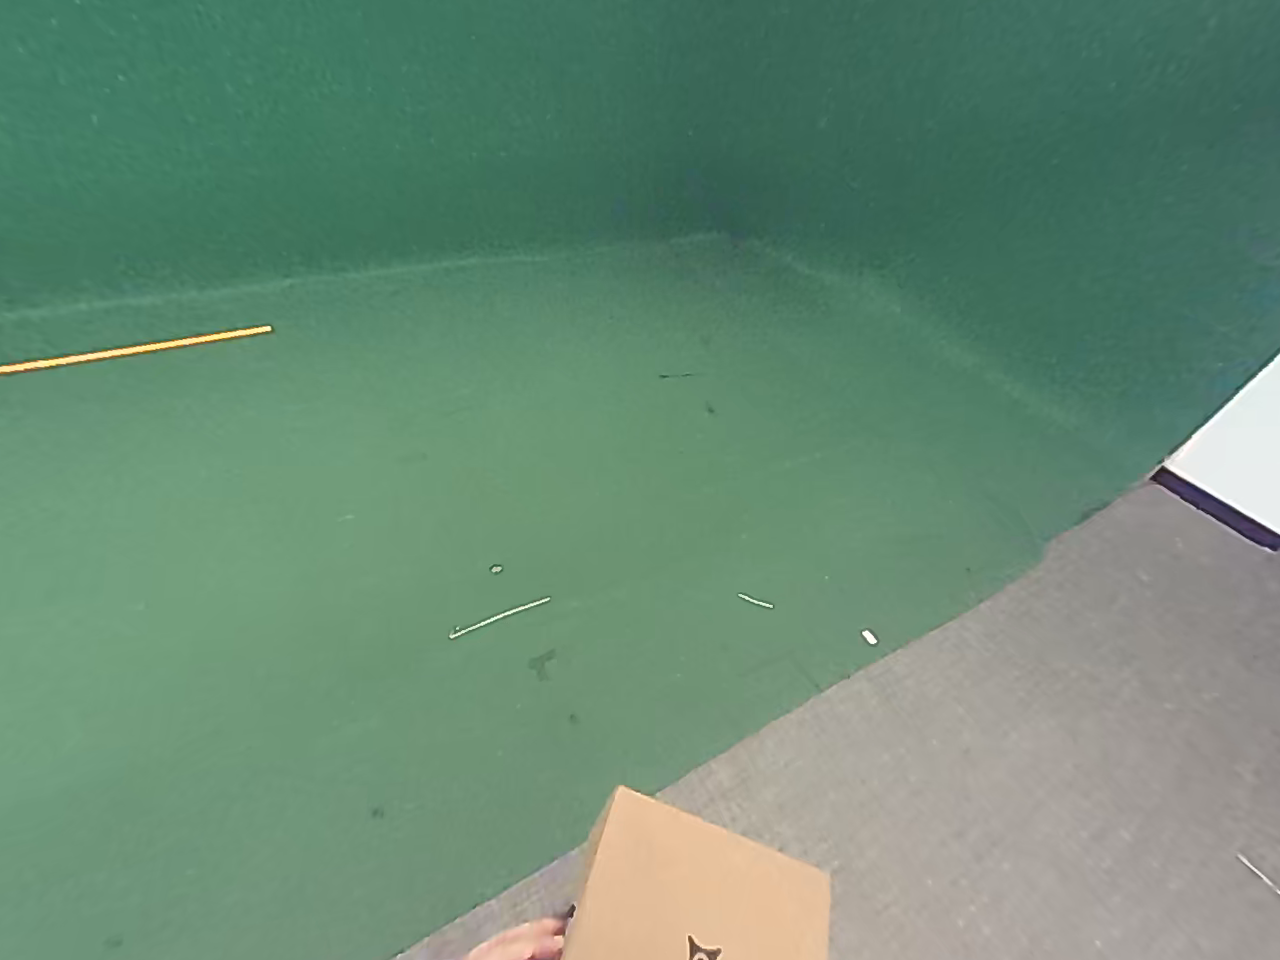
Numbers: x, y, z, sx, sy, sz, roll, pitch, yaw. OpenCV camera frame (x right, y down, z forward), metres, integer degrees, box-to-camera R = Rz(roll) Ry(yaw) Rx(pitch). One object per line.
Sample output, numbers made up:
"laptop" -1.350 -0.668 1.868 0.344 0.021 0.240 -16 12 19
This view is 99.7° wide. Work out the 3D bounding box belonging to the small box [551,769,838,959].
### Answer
"small box" 0.025 0.352 0.391 0.168 0.176 0.179 21 45 4
